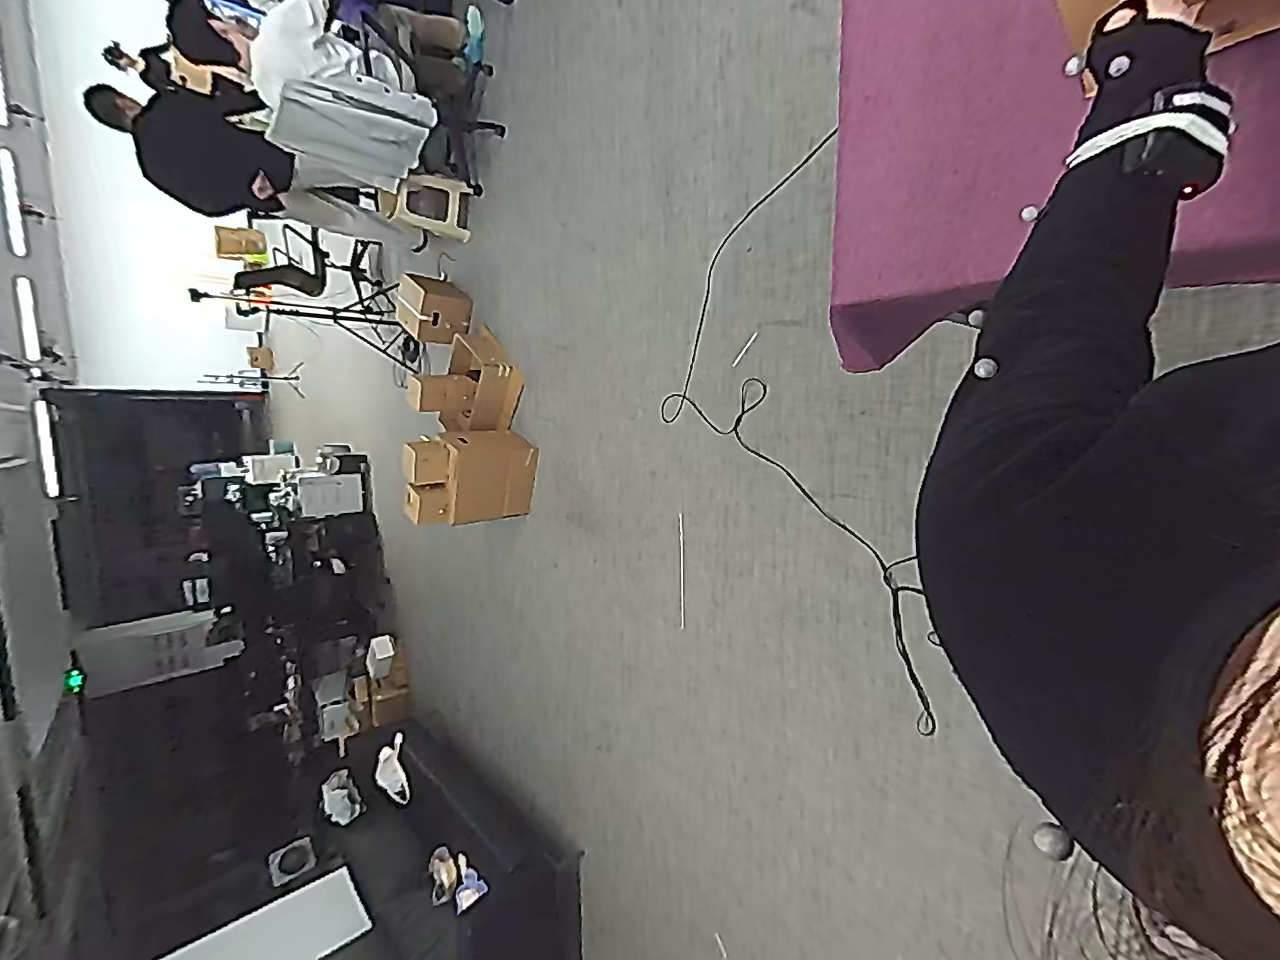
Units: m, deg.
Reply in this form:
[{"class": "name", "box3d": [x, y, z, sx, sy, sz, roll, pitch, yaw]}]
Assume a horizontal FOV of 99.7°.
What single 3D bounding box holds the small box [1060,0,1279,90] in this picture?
[{"class": "small box", "box3d": [0.497, -0.516, 0.491, 0.168, 0.176, 0.179, 4, 86, 48]}]
